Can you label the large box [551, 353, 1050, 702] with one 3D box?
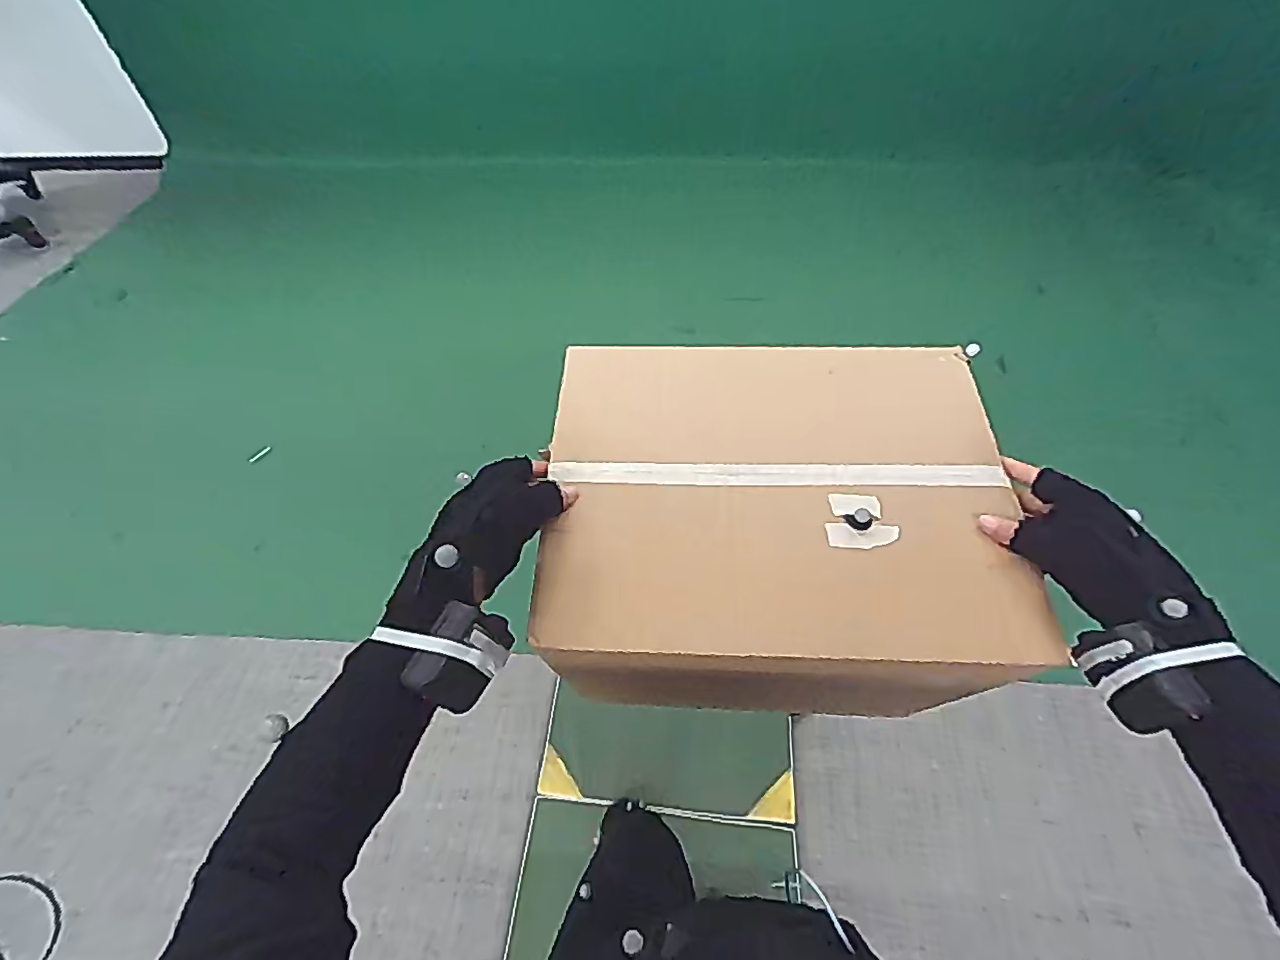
[{"bbox_3d":[0.130,0.073,0.629,0.408,0.320,0.320,1,61,2],"label":"large box"}]
